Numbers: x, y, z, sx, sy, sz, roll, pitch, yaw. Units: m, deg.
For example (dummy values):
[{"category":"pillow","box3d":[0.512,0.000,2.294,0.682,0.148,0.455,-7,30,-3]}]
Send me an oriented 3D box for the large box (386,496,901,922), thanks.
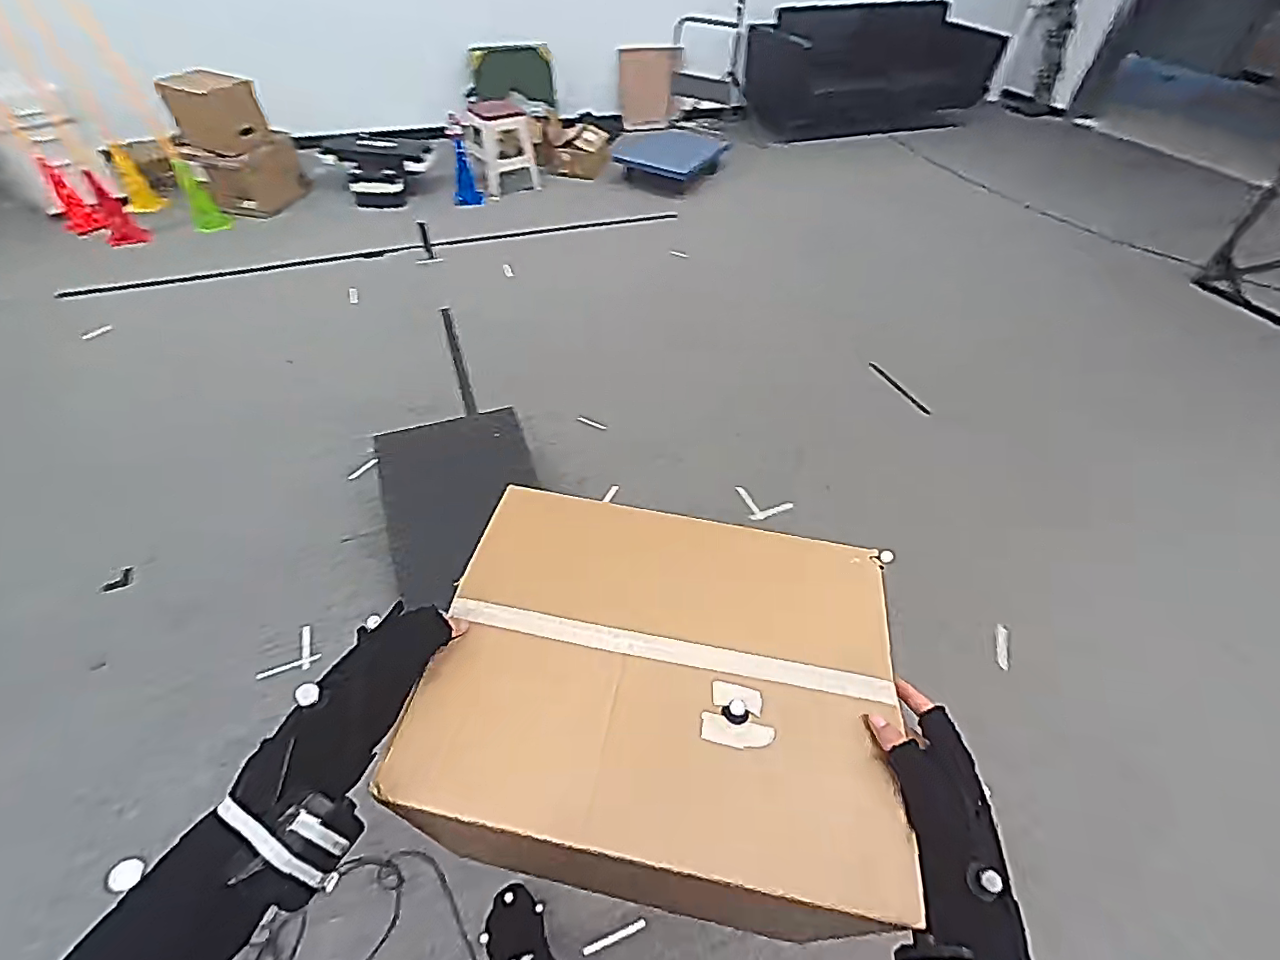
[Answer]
[{"category":"large box","box3d":[0.010,0.257,0.613,0.408,0.320,0.320,10,48,5]}]
